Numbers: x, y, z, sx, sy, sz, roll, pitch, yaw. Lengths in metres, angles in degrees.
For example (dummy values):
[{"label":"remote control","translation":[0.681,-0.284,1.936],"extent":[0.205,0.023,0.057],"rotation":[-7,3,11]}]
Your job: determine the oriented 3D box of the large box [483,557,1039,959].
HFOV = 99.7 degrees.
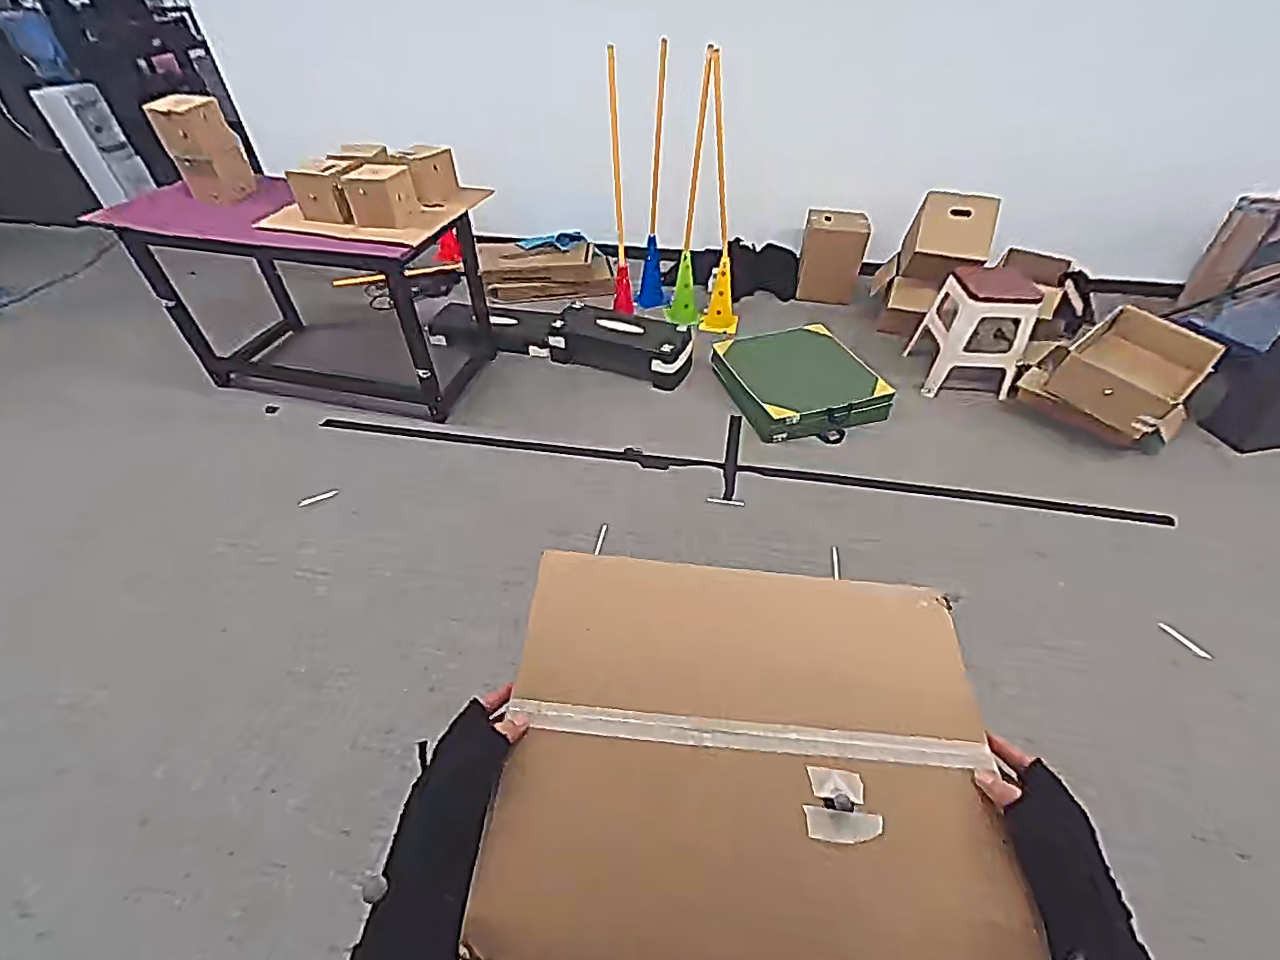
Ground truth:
[{"label":"large box","translation":[0.083,0.305,0.584],"extent":[0.408,0.320,0.320],"rotation":[5,53,-1]}]
